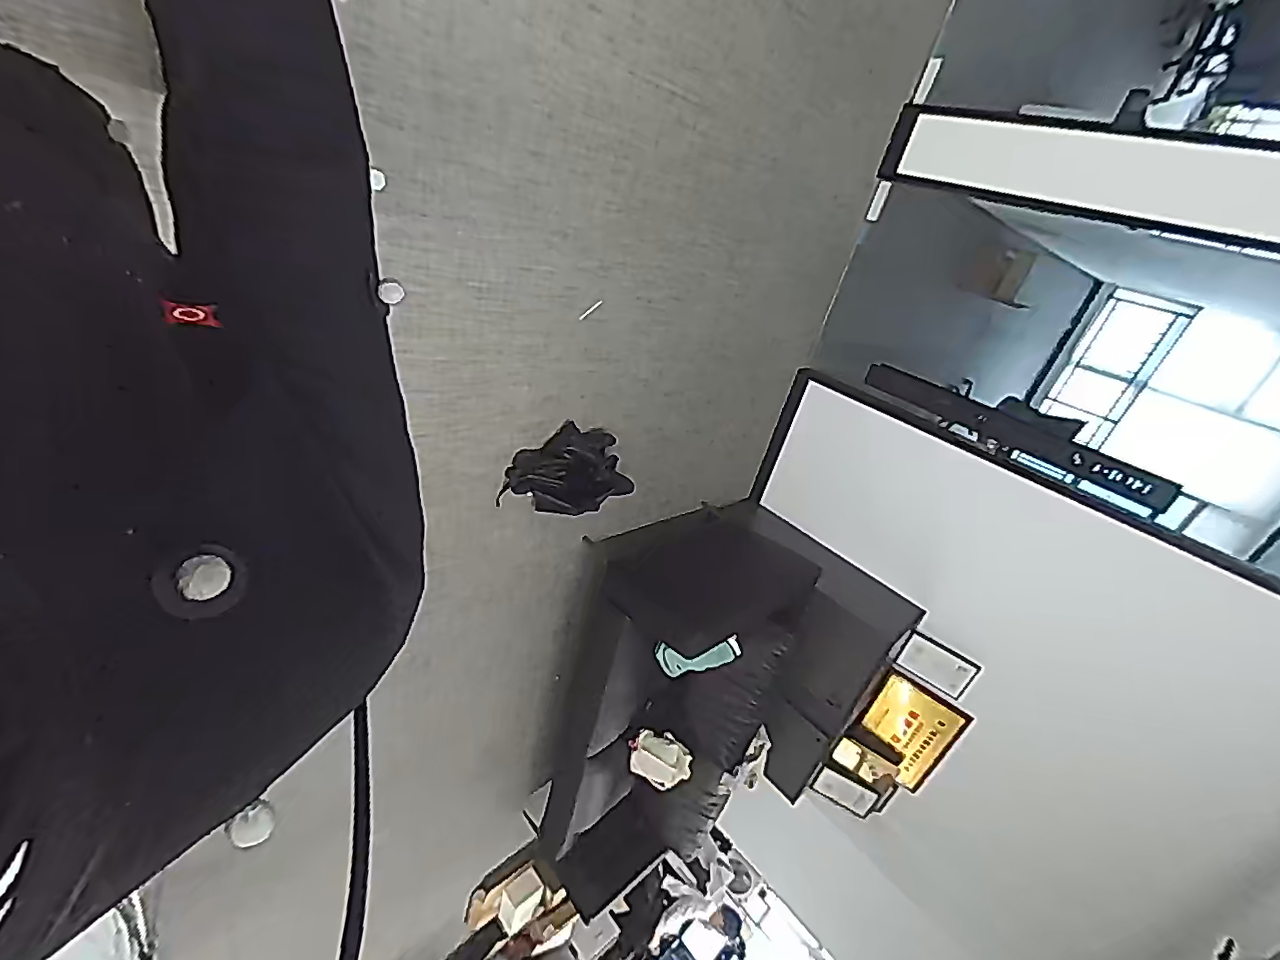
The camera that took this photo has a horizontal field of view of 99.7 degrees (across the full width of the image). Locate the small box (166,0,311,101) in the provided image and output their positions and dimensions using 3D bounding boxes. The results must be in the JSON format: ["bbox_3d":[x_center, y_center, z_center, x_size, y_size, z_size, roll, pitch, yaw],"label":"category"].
[{"bbox_3d":[-0.660,-0.692,0.892,0.168,0.176,0.179,-10,126,-46],"label":"small box"}]
